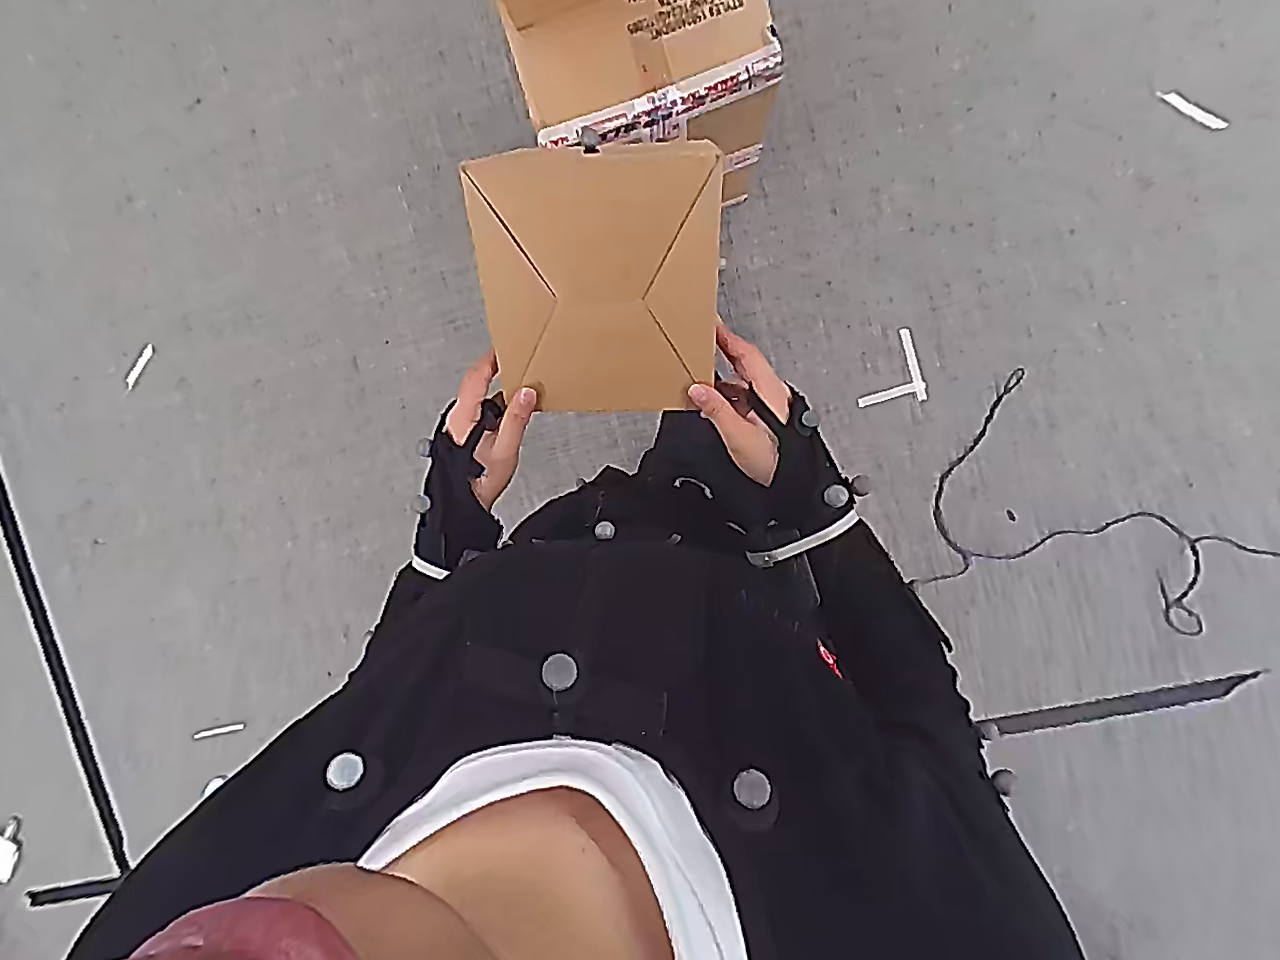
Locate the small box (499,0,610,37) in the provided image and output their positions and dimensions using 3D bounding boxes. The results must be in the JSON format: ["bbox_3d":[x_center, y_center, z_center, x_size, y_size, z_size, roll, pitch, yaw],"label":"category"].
[{"bbox_3d":[-0.134,-0.768,0.738,0.179,0.176,0.168,-14,93,8],"label":"small box"}]
